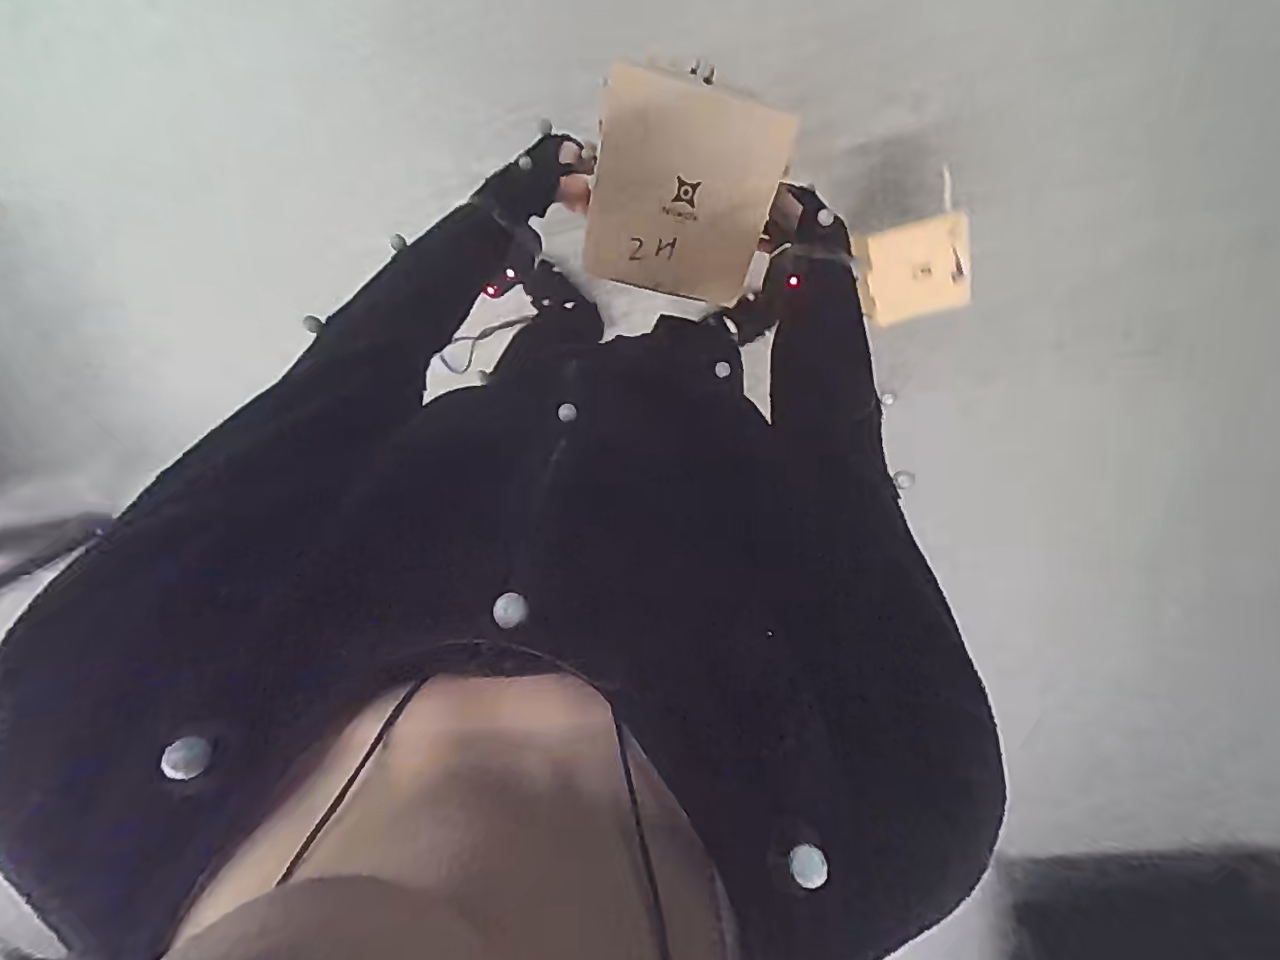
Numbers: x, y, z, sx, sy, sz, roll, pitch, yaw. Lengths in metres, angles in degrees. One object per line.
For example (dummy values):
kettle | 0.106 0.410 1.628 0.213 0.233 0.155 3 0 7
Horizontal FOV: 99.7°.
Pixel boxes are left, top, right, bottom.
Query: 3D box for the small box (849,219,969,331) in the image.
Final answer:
small box | 0.527 -0.408 1.078 0.179 0.176 0.168 -11 113 10
